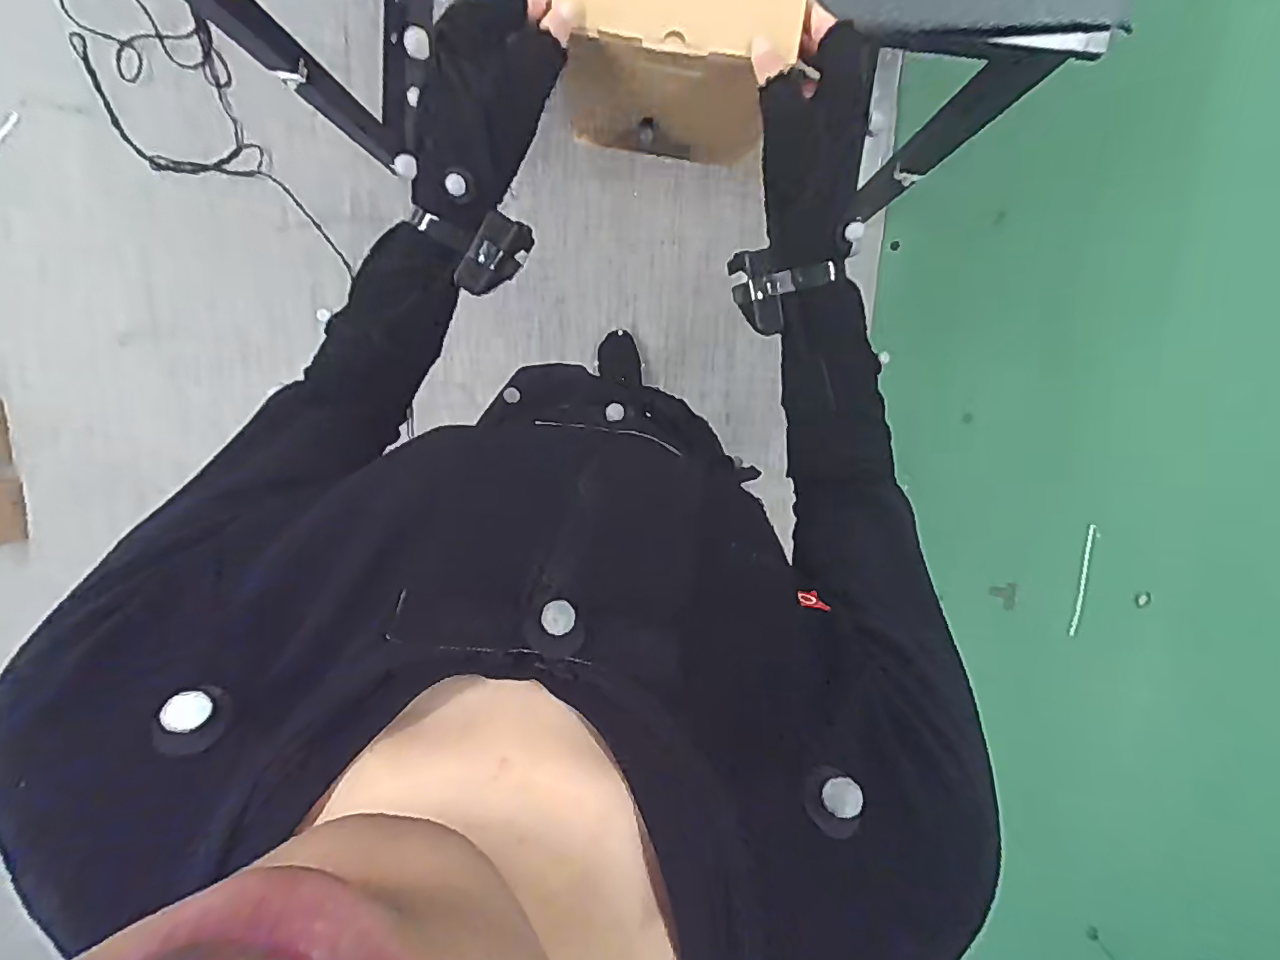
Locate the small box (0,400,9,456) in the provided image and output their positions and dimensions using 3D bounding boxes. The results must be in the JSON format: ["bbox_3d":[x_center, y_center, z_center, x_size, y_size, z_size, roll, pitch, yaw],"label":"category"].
[{"bbox_3d":[-1.806,-0.136,1.385,0.179,0.176,0.168,3,100,0],"label":"small box"}]

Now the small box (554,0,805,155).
[{"bbox_3d":[0.032,-0.389,0.417,0.168,0.176,0.179,8,101,-3],"label":"small box"}]
